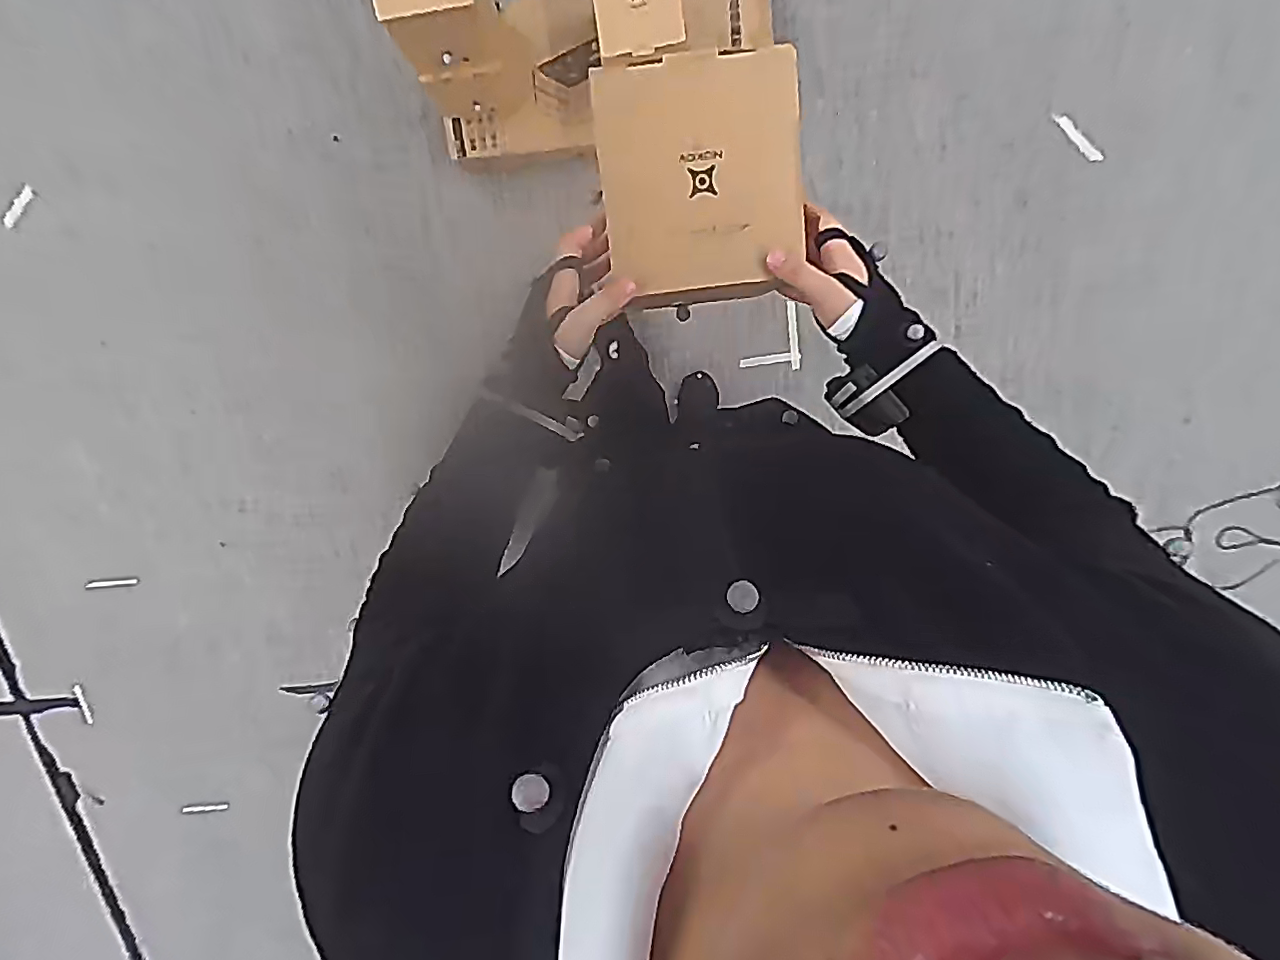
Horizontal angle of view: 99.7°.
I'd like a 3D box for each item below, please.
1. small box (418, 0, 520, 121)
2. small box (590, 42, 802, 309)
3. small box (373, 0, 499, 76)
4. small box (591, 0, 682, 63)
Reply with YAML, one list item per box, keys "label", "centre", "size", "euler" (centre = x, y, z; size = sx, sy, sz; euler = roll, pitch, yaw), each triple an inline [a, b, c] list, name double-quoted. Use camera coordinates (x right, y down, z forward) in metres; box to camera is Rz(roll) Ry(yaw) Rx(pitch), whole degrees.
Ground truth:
- label: "small box"
  centre: [-0.353, -0.872, 1.103]
  size: [0.168, 0.176, 0.179]
  euler: [-6, 103, 2]
- label: "small box"
  centre: [0.046, -0.270, 0.521]
  size: [0.168, 0.176, 0.179]
  euler: [-7, 104, 1]
- label: "small box"
  centre: [-0.357, -0.851, 0.940]
  size: [0.168, 0.176, 0.179]
  euler: [-8, 103, 2]
- label: "small box"
  centre: [-0.005, -0.911, 1.094]
  size: [0.168, 0.176, 0.179]
  euler: [-7, 103, 4]
